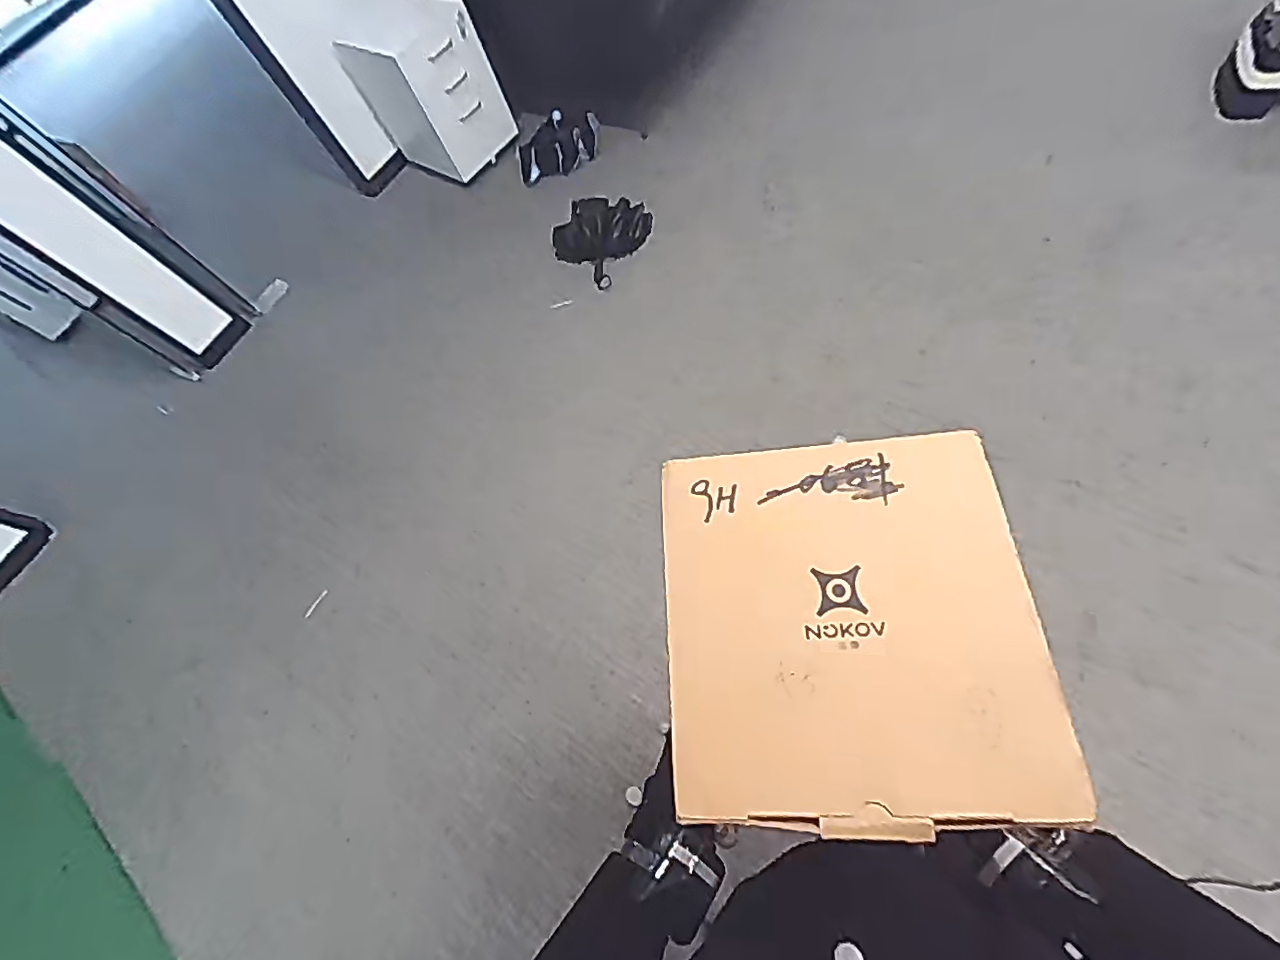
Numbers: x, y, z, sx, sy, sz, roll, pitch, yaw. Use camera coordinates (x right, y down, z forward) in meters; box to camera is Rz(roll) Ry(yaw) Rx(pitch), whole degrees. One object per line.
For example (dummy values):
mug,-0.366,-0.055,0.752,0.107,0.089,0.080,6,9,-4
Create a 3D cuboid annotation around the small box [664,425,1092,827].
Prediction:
small box,0.110,0.088,0.326,0.168,0.176,0.179,-6,67,10
